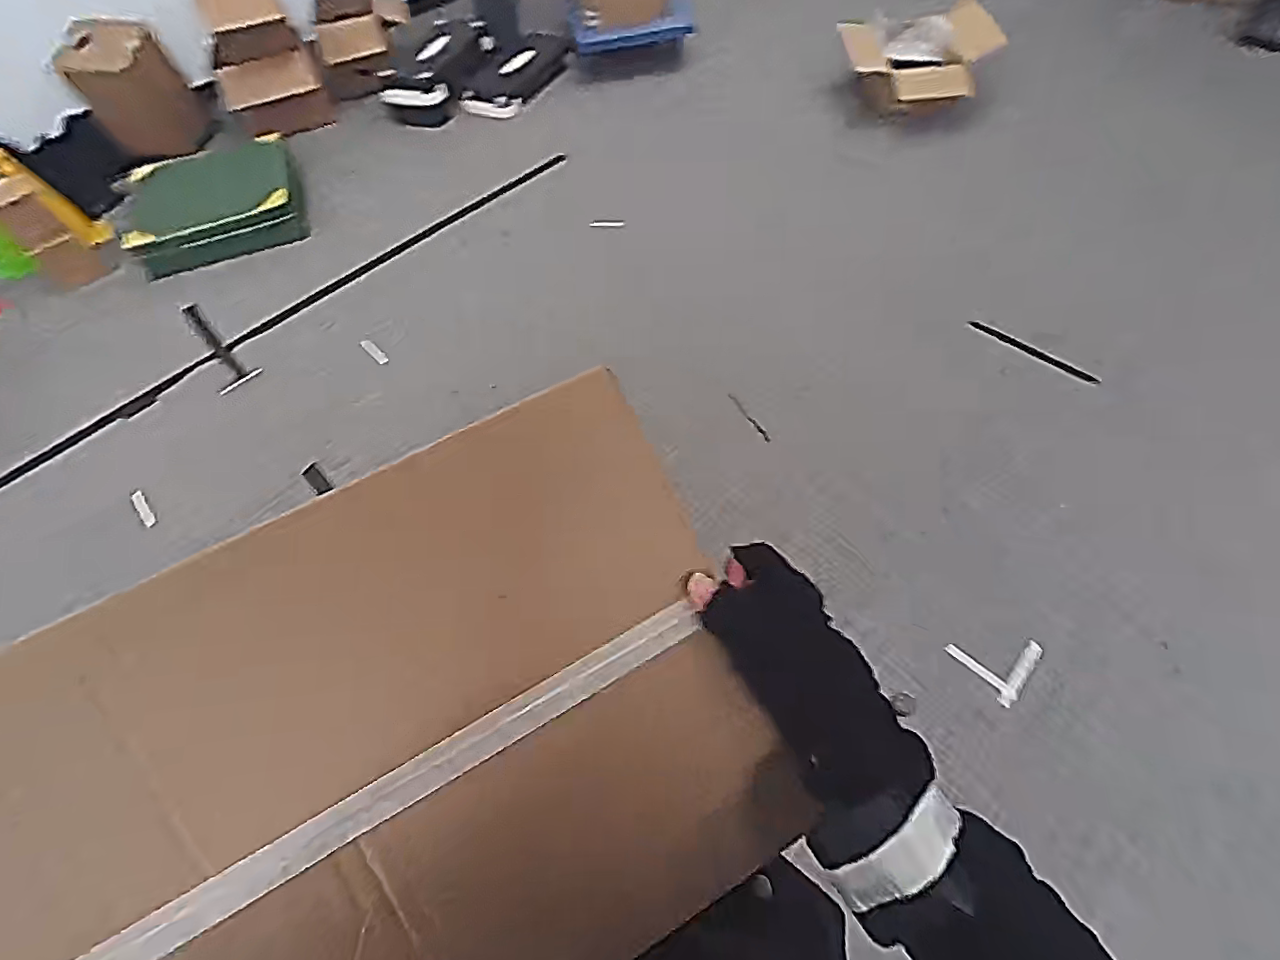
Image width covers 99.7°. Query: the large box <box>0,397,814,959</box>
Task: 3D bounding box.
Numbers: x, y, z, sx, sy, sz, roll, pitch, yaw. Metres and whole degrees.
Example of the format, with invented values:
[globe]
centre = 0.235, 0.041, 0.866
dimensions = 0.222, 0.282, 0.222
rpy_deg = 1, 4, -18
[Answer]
[large box]
centre = -0.151, 0.177, 0.450
dimensions = 0.408, 0.320, 0.320
rpy_deg = -28, 93, -11
